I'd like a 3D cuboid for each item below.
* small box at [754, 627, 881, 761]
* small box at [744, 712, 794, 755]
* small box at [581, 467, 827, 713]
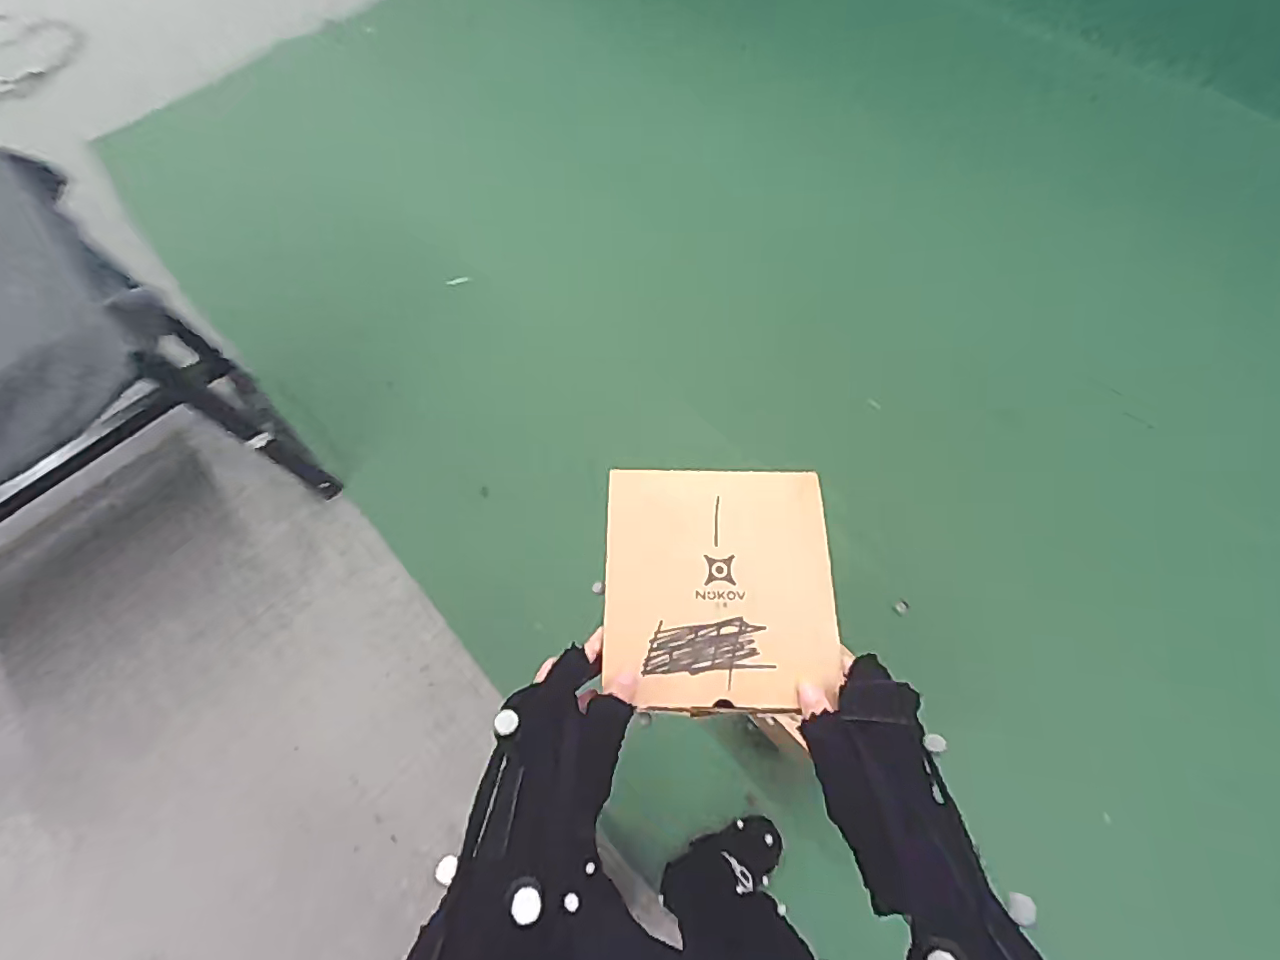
[{"bbox_3d":[0.309,0.398,1.022,0.179,0.176,0.168,-40,69,-15],"label":"small box"},{"bbox_3d":[0.313,0.456,1.155,0.179,0.176,0.168,-39,68,-13],"label":"small box"},{"bbox_3d":[0.043,0.101,0.460,0.168,0.176,0.179,0,67,-1],"label":"small box"}]
